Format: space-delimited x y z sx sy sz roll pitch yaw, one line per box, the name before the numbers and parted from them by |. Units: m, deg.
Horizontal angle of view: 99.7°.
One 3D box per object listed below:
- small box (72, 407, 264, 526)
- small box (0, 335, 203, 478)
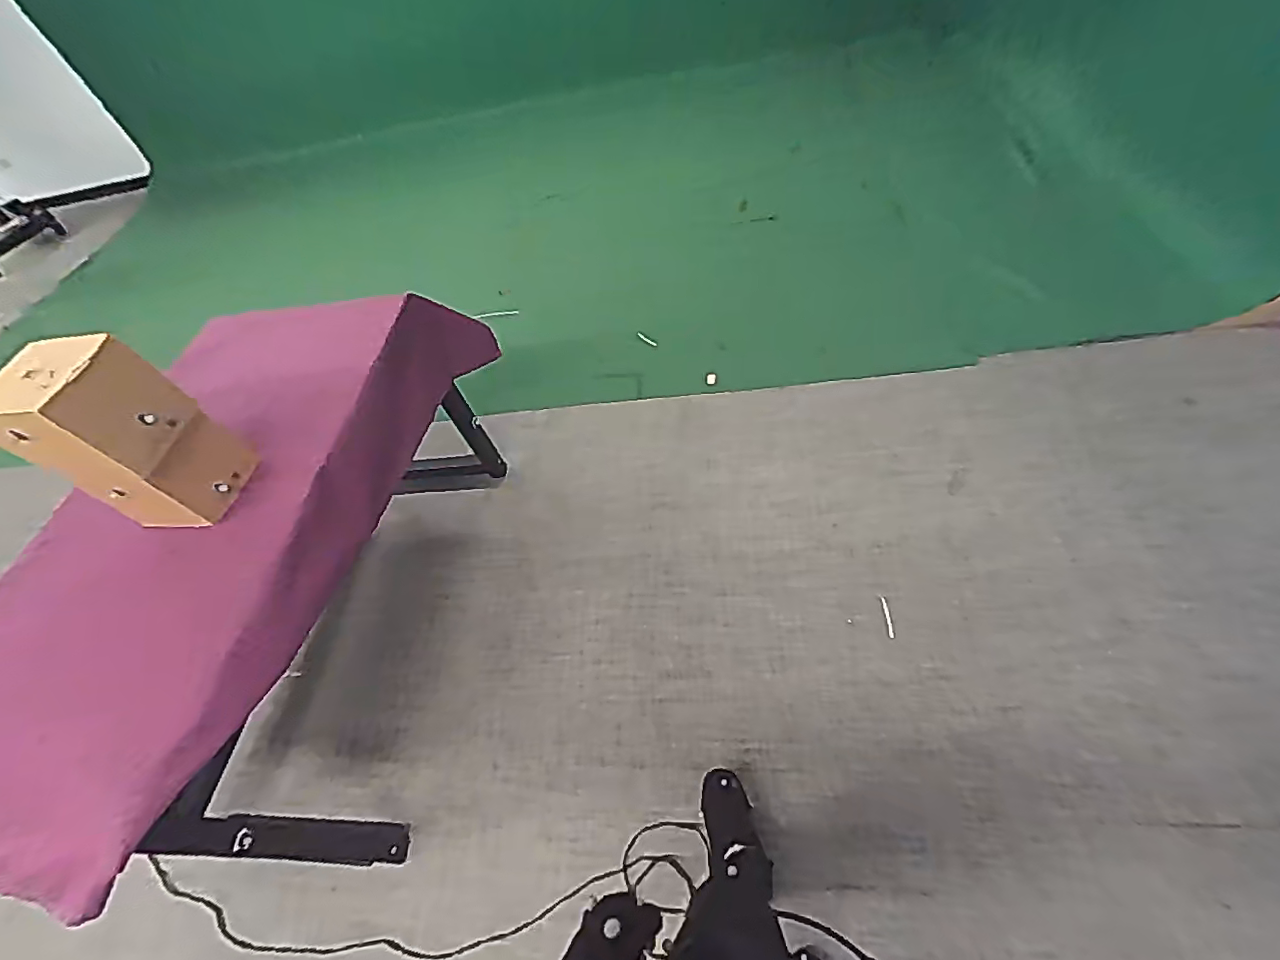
small box | -0.881 -0.023 1.029 0.179 0.176 0.168 0 55 13
small box | -0.896 -0.114 0.893 0.179 0.176 0.168 -1 55 12
